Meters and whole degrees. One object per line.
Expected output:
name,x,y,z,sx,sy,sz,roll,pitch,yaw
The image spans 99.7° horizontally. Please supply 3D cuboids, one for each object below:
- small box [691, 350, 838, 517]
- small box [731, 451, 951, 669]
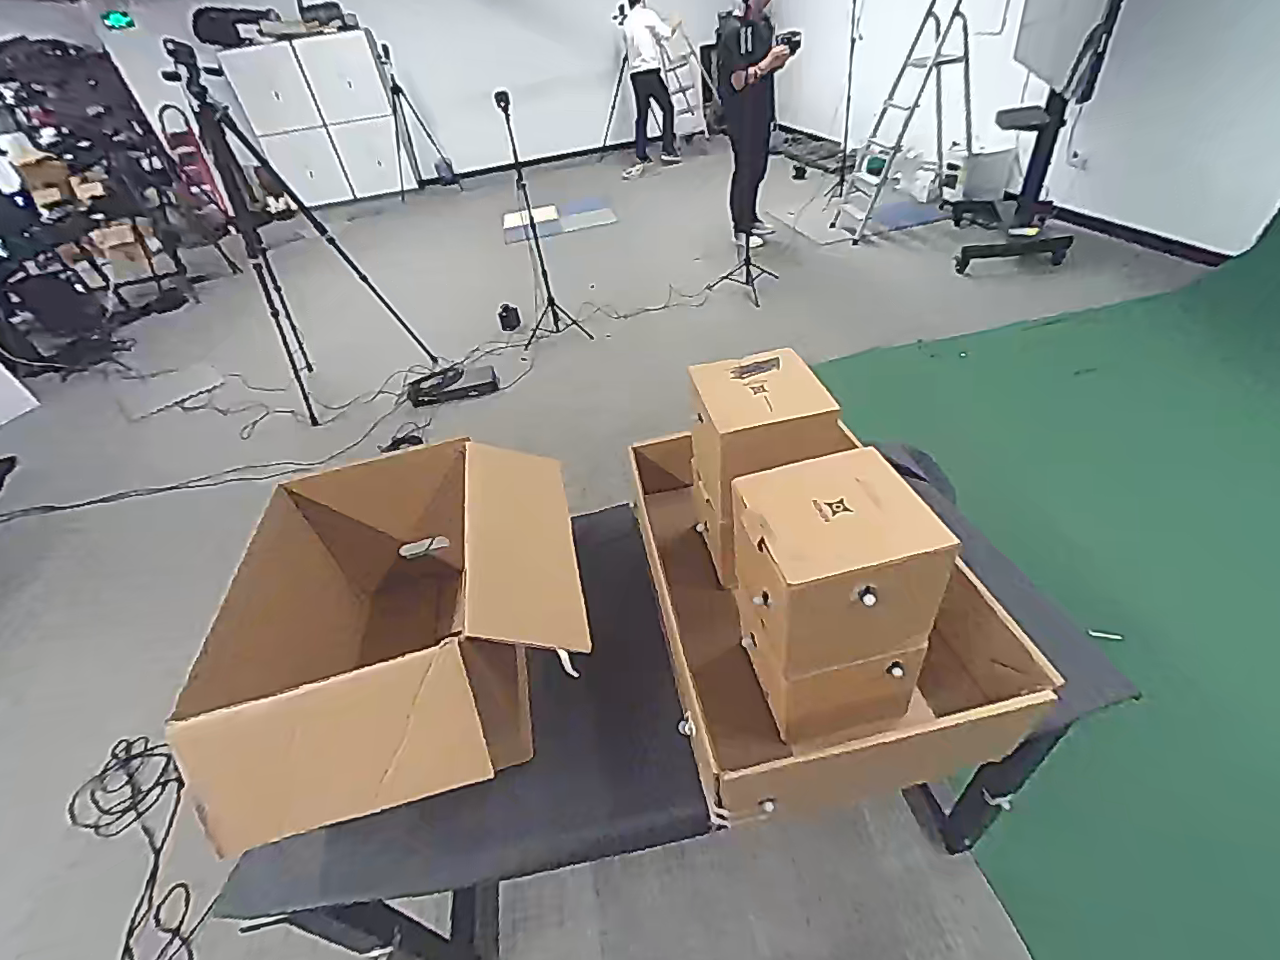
small box,0.176,-0.070,0.819,0.168,0.176,0.179,-11,43,-2
small box,0.216,0.094,0.628,0.179,0.176,0.168,-12,41,-4
